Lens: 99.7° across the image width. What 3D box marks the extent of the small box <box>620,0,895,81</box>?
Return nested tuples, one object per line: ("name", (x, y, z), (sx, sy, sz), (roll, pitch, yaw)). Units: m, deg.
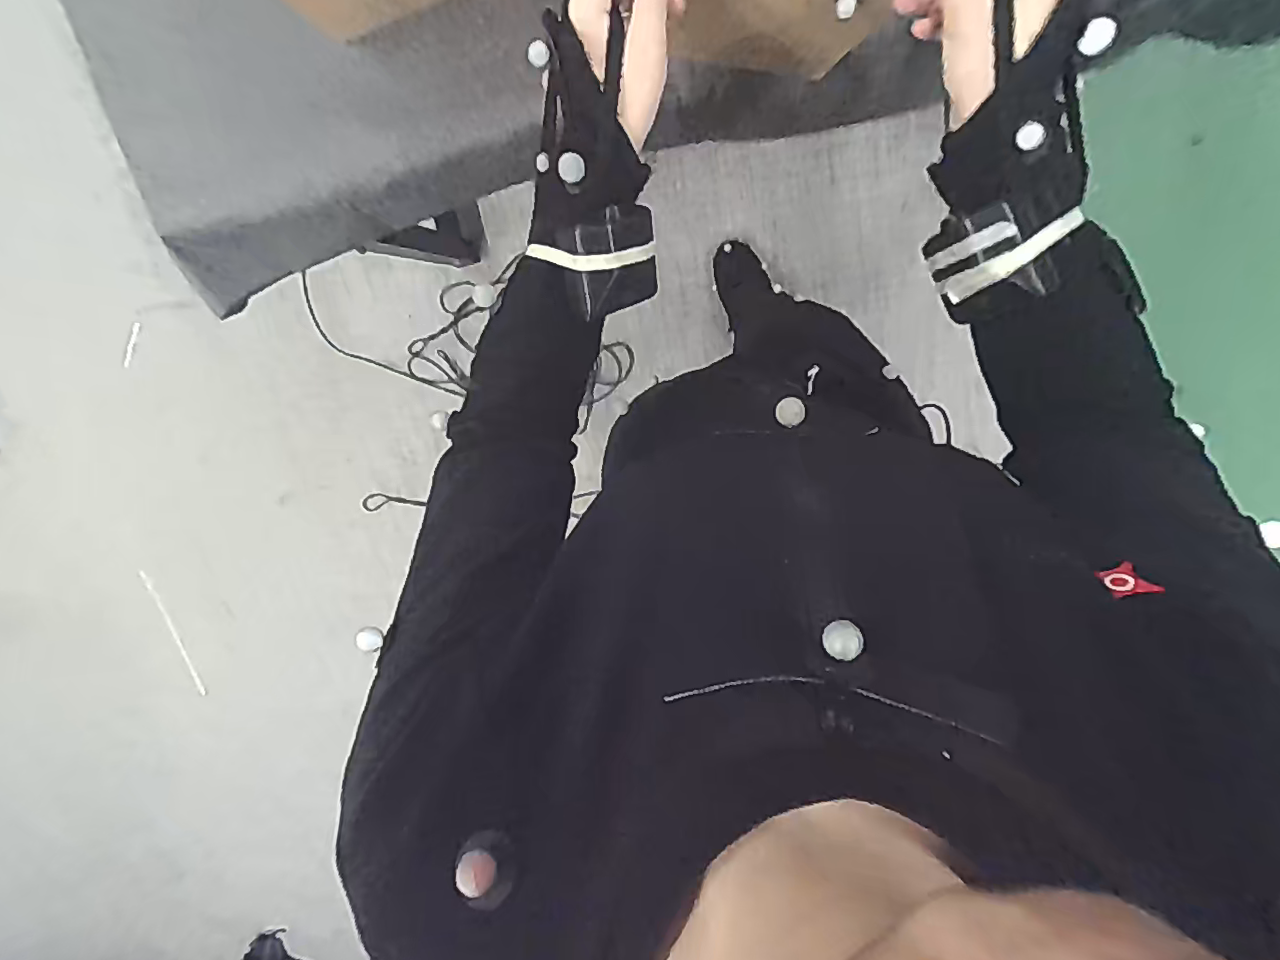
("small box", (0.082, -0.388, 0.347), (0.179, 0.176, 0.168), (2, 109, -8))
